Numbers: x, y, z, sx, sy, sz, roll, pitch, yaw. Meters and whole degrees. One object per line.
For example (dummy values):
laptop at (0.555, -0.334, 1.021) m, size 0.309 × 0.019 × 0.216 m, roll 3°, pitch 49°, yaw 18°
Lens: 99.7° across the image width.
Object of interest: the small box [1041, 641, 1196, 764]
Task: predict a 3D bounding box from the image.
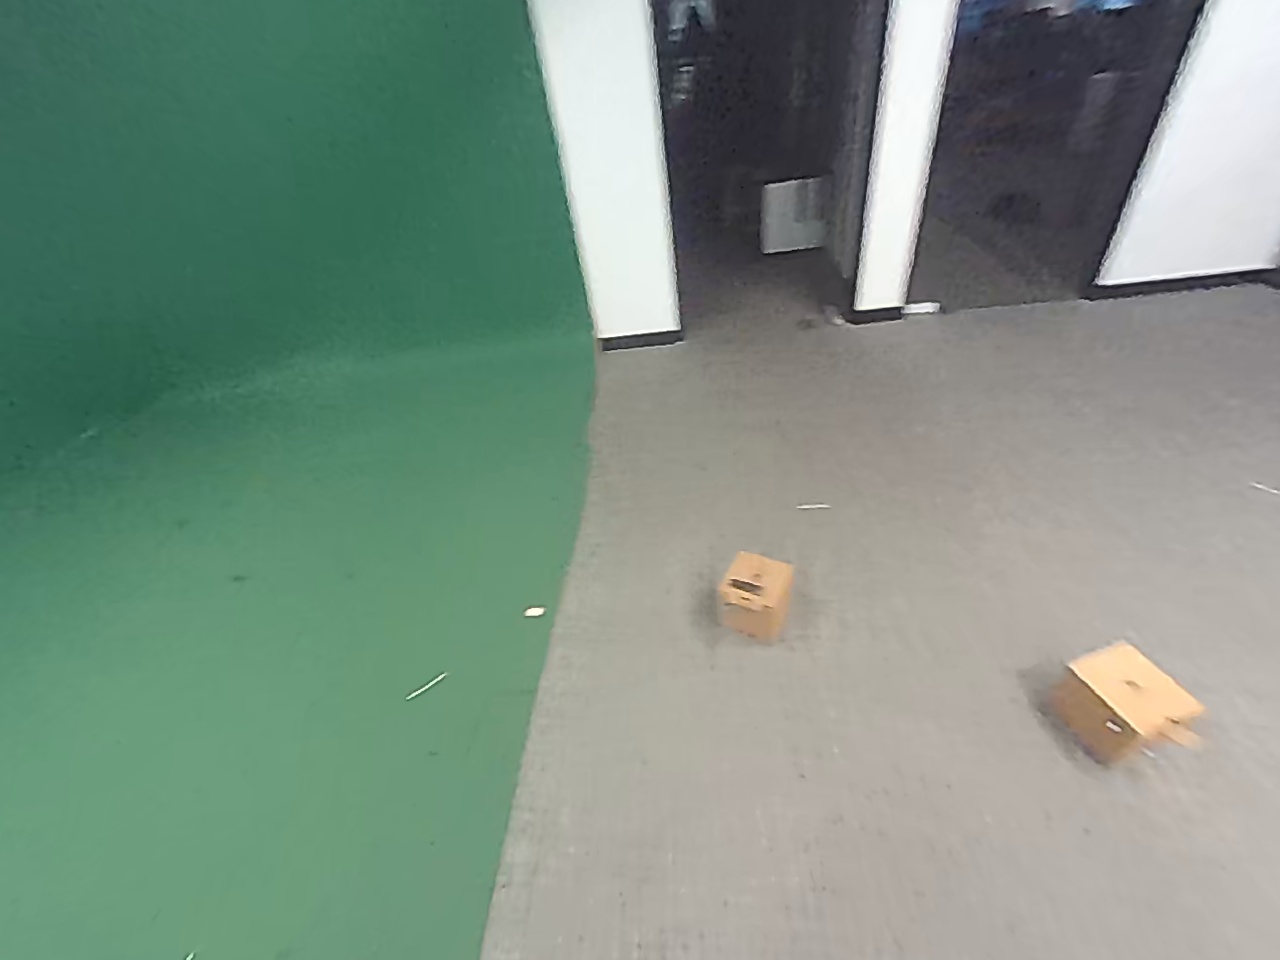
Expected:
small box at (1.073, 0.506, 1.232) m, size 0.168 × 0.176 × 0.179 m, roll -17°, pitch 41°, yaw -8°
